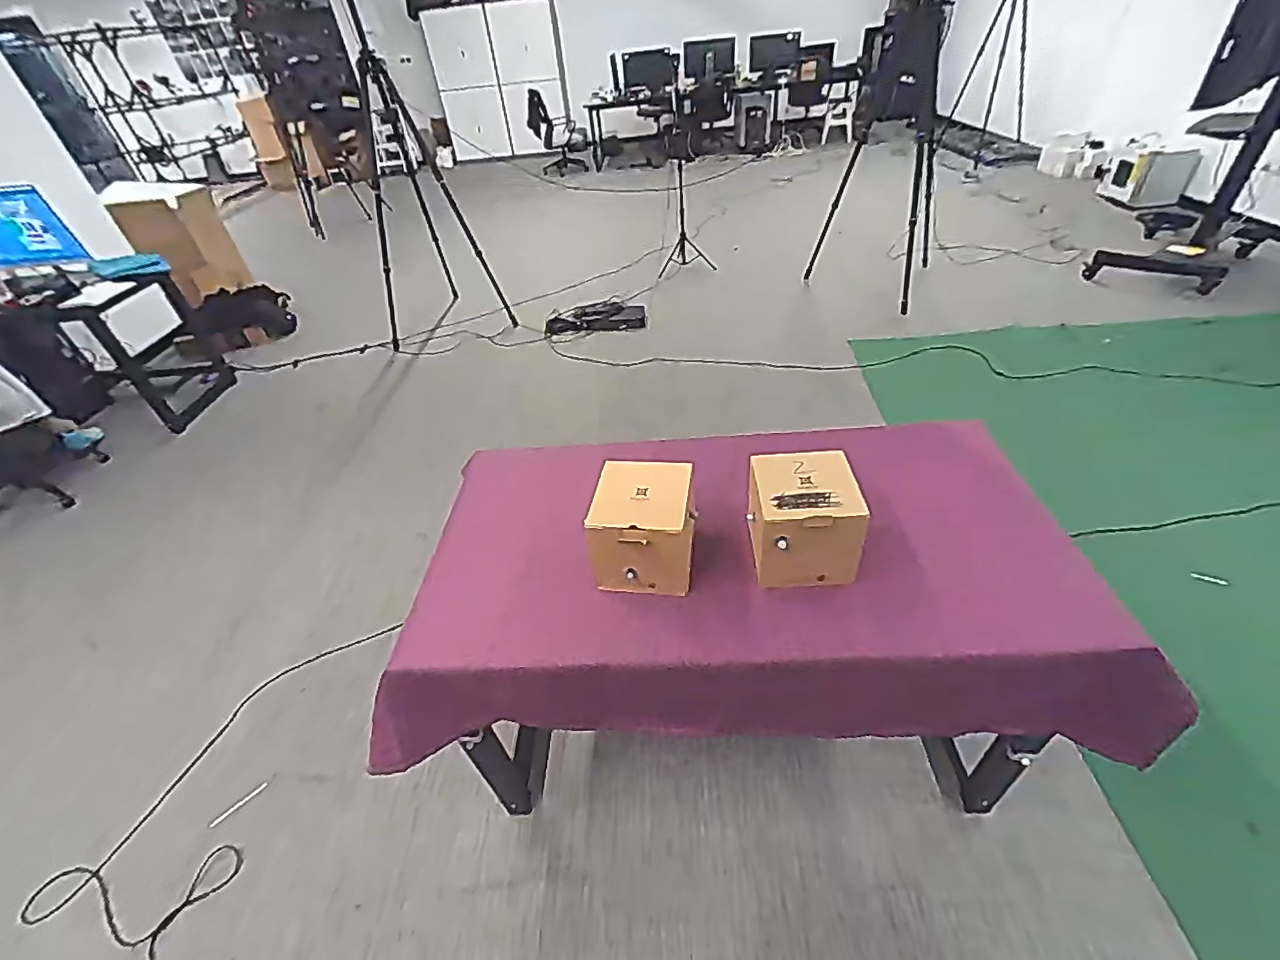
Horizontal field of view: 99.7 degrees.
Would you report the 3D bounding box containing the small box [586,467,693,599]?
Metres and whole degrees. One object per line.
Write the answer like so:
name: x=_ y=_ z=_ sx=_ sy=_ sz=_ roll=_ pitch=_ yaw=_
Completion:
small box: x=0.009 y=0.096 z=1.005 sx=0.168 sy=0.176 sz=0.179 roll=2 pitch=42 yaw=11
